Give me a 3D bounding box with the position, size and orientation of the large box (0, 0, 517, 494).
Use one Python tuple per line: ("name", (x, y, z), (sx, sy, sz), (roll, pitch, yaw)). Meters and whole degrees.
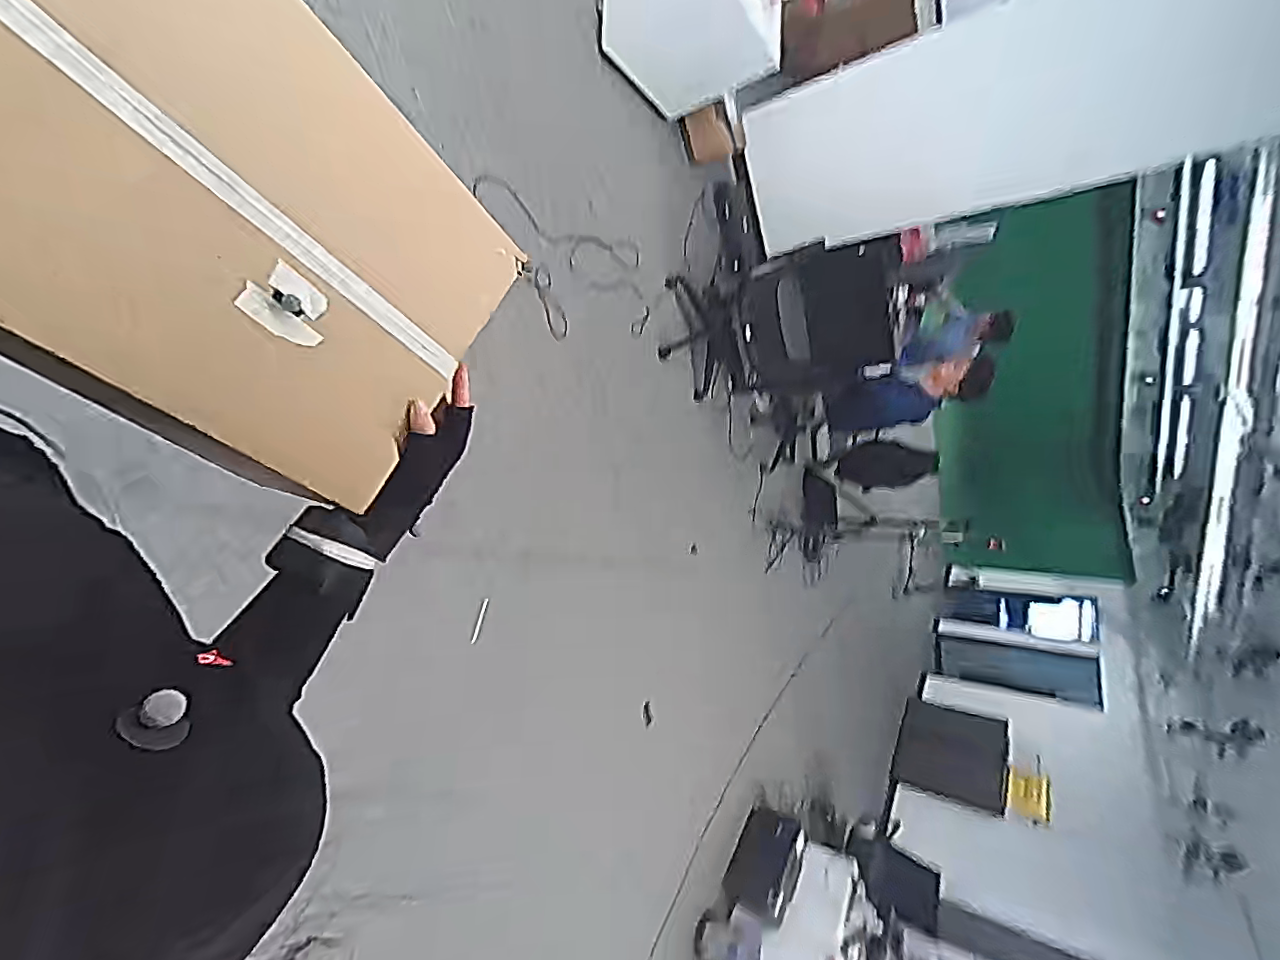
("large box", (-0.408, -0.224, 0.494), (0.408, 0.320, 0.320), (43, 64, -42))
